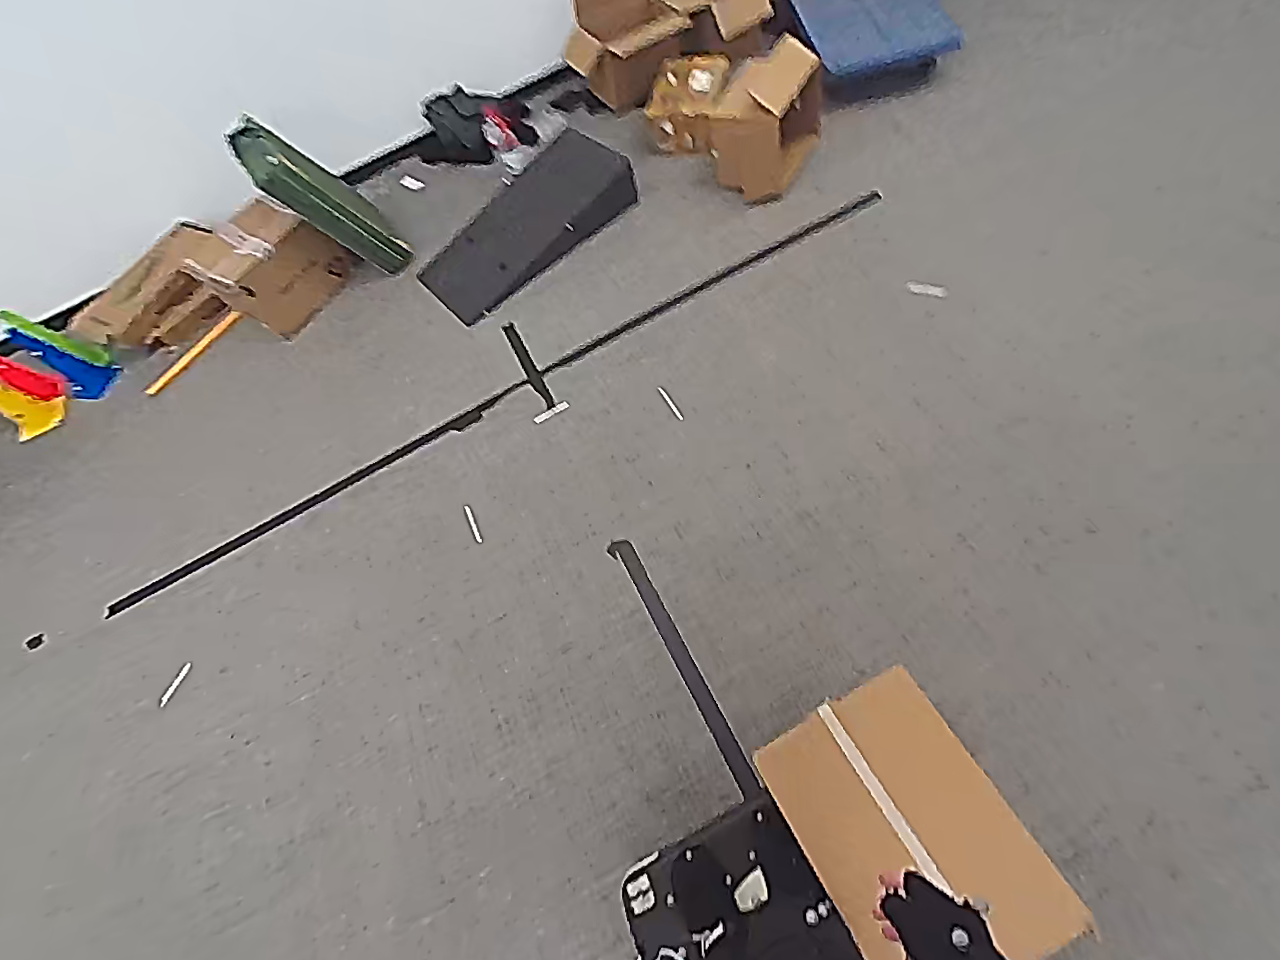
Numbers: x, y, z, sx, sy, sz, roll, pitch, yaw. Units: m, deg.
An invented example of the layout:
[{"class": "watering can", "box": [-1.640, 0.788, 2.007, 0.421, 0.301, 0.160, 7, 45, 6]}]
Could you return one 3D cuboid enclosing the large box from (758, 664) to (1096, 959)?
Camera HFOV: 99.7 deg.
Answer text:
[{"class": "large box", "box": [0.466, 0.605, 0.990, 0.320, 0.320, 0.408, -33, 62, 3]}]
